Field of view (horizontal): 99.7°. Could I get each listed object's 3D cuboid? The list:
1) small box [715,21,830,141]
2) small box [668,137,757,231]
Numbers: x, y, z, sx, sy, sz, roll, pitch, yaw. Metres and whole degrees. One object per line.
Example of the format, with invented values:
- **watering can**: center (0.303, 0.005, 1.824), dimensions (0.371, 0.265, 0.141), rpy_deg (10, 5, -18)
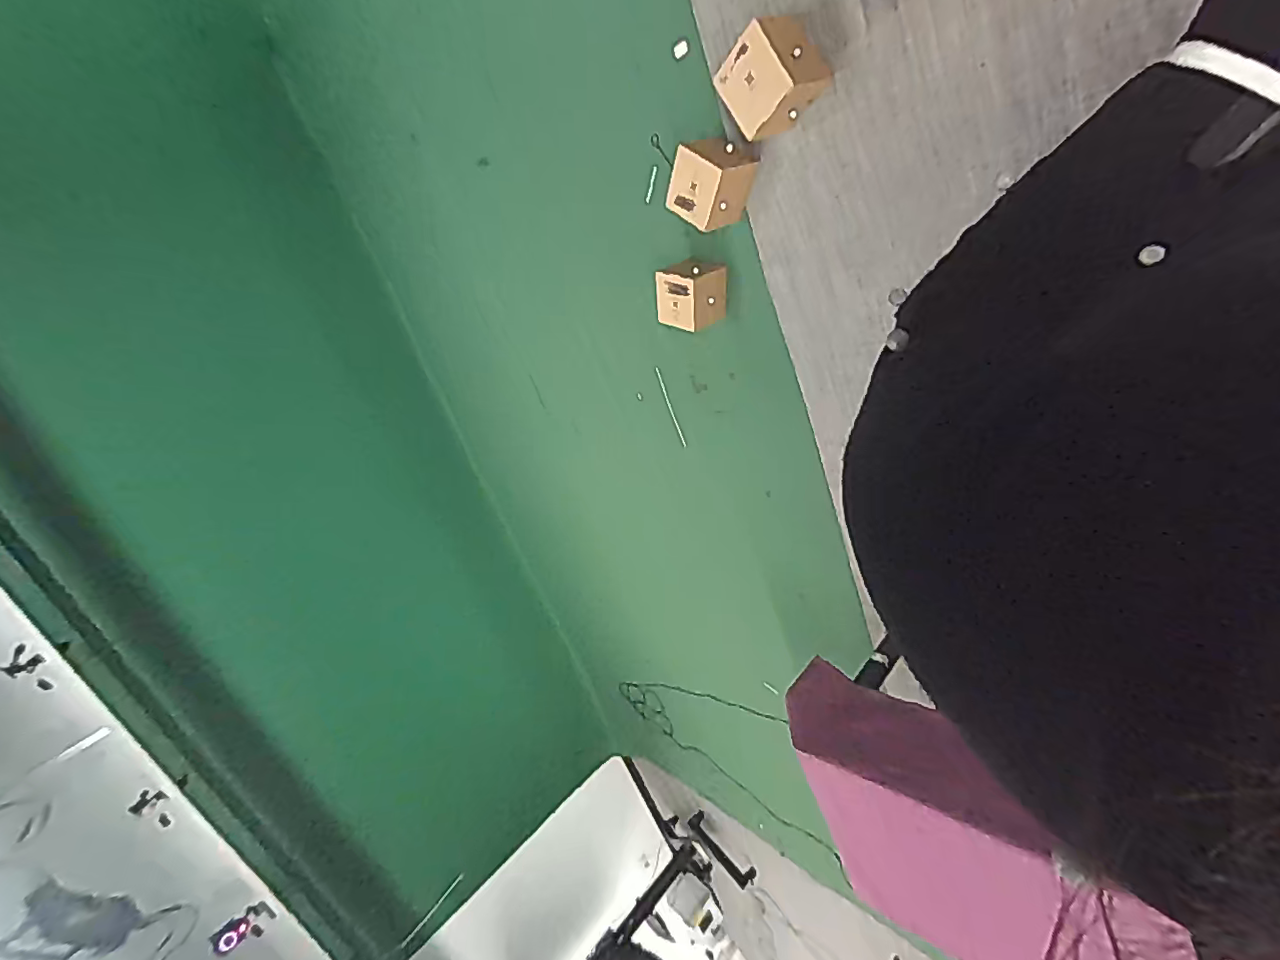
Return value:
- **small box**: center (0.325, -0.975, 1.316), dimensions (0.179, 0.176, 0.168), rpy_deg (58, 148, -3)
- **small box**: center (0.210, -0.861, 1.568), dimensions (0.168, 0.176, 0.179), rpy_deg (44, 145, 20)
